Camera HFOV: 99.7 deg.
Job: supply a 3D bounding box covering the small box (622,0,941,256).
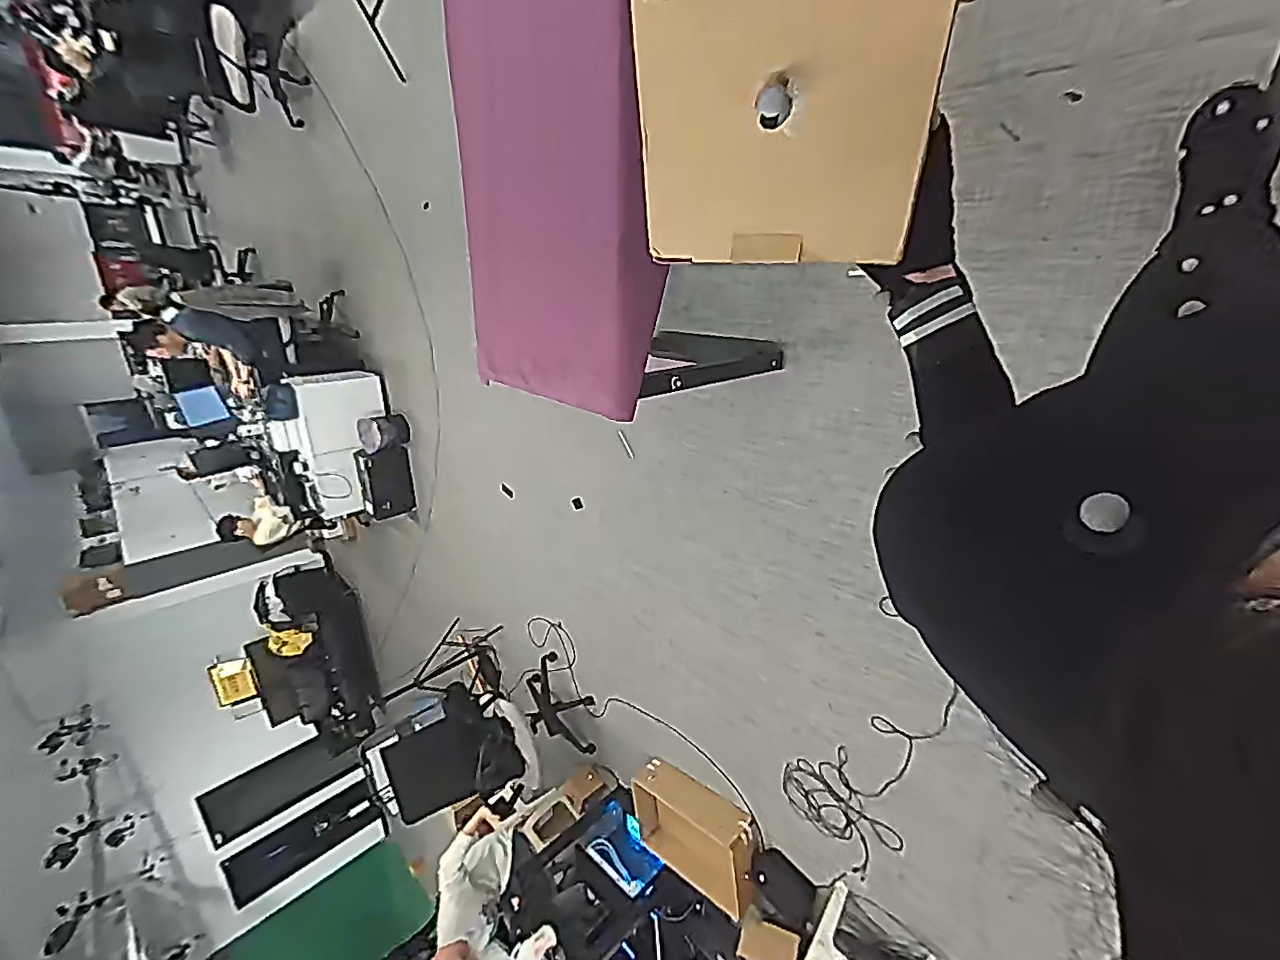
[{"bbox_3d":[0.096,-0.260,0.353,0.168,0.179,0.176,10,133,20],"label":"small box"}]
